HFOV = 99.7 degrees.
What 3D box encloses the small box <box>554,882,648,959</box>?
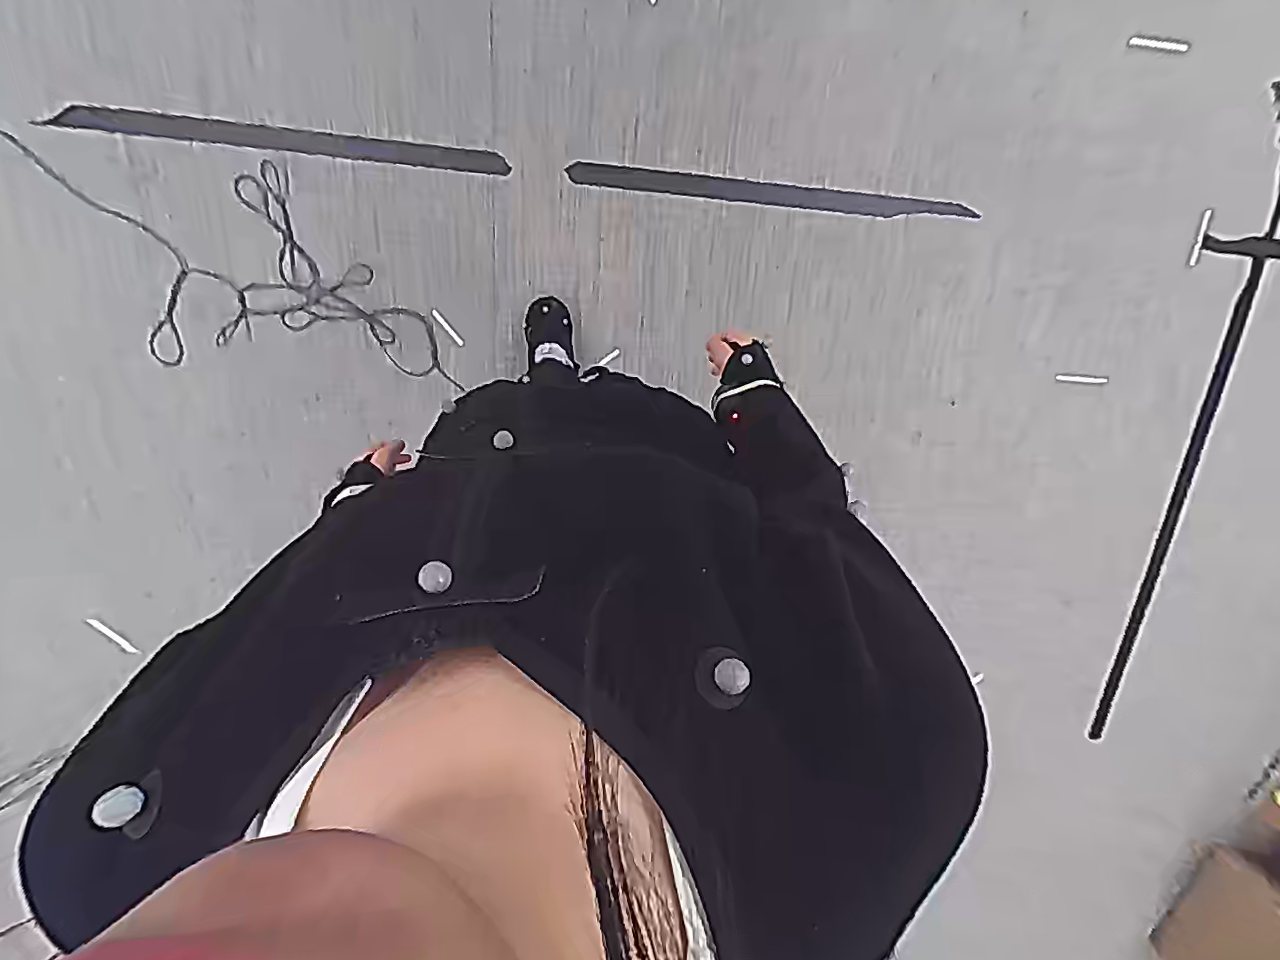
[{"bbox_3d":[-0.084,0.950,1.084,0.168,0.176,0.179,8,105,-6],"label":"small box"}]
